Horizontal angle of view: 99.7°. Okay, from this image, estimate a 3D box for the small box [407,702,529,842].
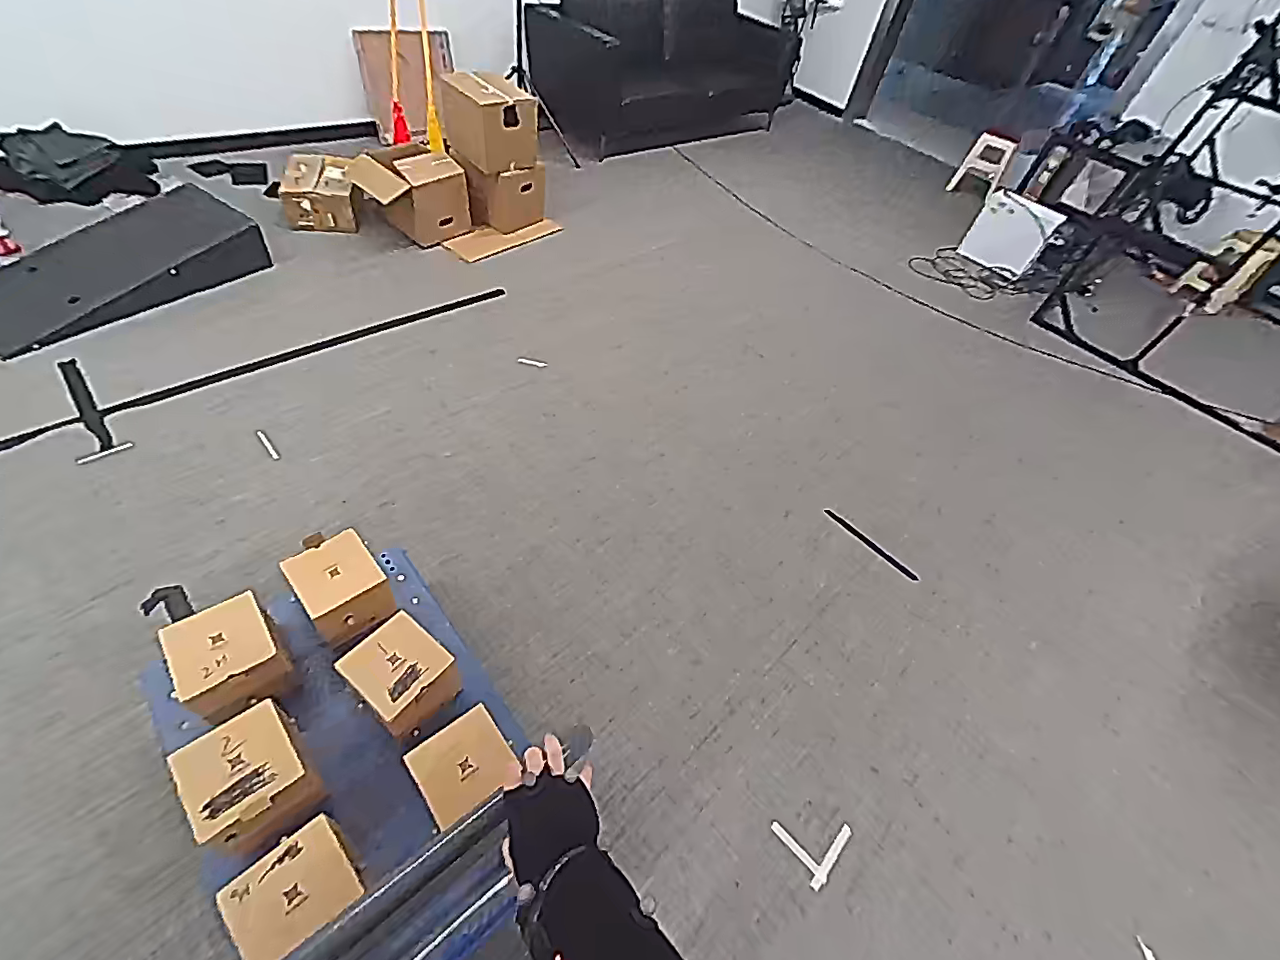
[{"bbox_3d":[-0.335,0.585,1.076,0.168,0.176,0.179,-28,61,-32],"label":"small box"}]

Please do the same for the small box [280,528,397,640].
[{"bbox_3d":[-0.699,0.253,1.273,0.168,0.176,0.179,-32,63,-33],"label":"small box"}]

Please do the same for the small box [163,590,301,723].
[{"bbox_3d":[-0.848,0.371,1.135,0.168,0.176,0.179,-27,62,-31],"label":"small box"}]

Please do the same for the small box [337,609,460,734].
[{"bbox_3d":[-0.511,0.422,1.172,0.179,0.176,0.168,35,51,17],"label":"small box"}]

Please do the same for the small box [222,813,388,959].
[{"bbox_3d":[-0.554,0.710,0.916,0.168,0.176,0.179,-32,64,-34],"label":"small box"}]
